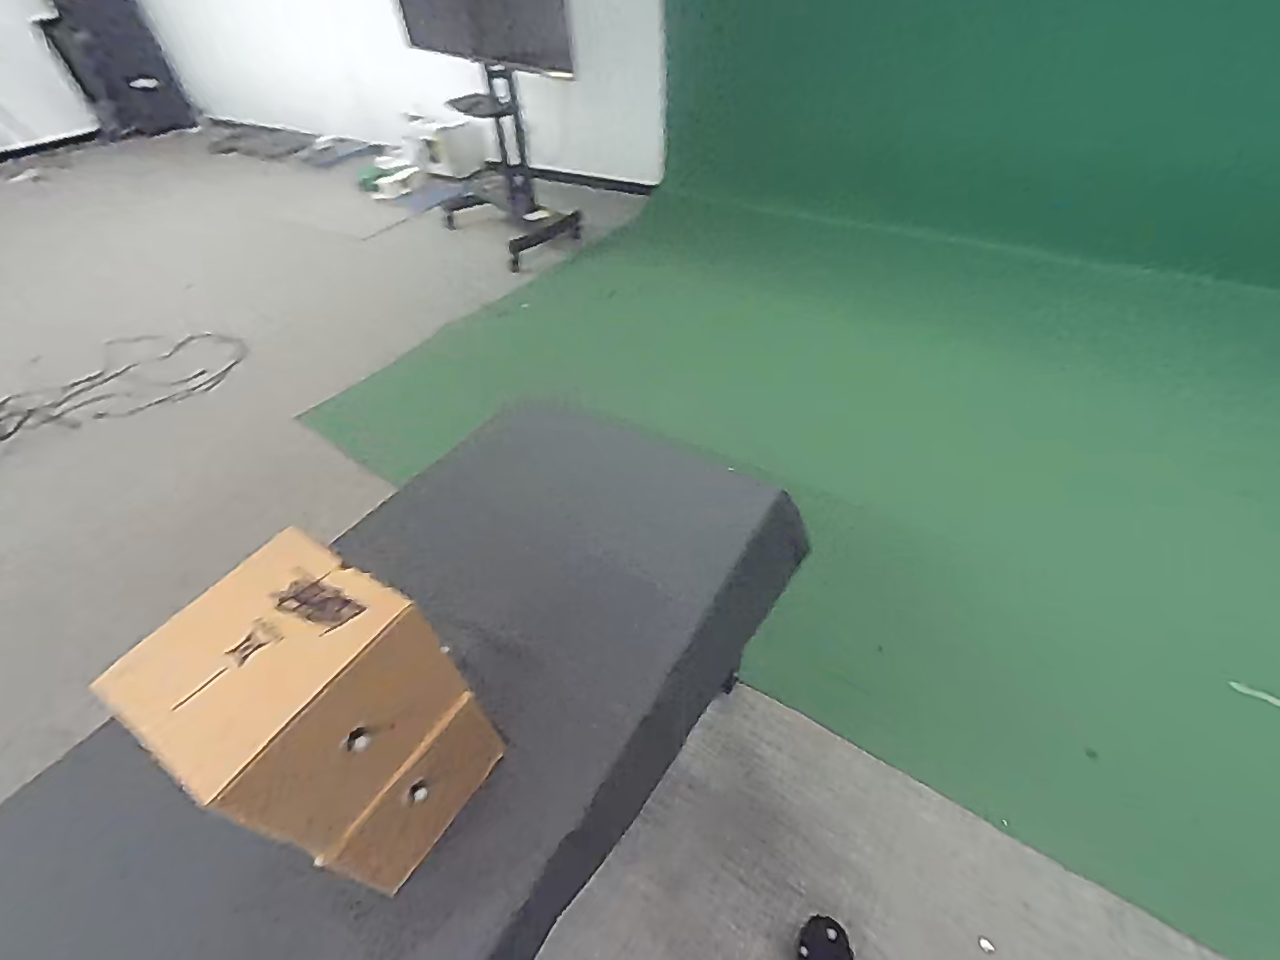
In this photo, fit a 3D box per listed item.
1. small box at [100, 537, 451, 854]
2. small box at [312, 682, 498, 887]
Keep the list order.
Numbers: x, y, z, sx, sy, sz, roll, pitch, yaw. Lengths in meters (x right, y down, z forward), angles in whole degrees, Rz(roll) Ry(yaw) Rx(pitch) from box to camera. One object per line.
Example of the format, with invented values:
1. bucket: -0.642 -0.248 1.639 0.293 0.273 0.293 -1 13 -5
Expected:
1. small box: -0.295 0.190 0.486 0.168 0.176 0.179 22 52 23
2. small box: -0.284 0.307 0.601 0.168 0.176 0.179 24 50 24
